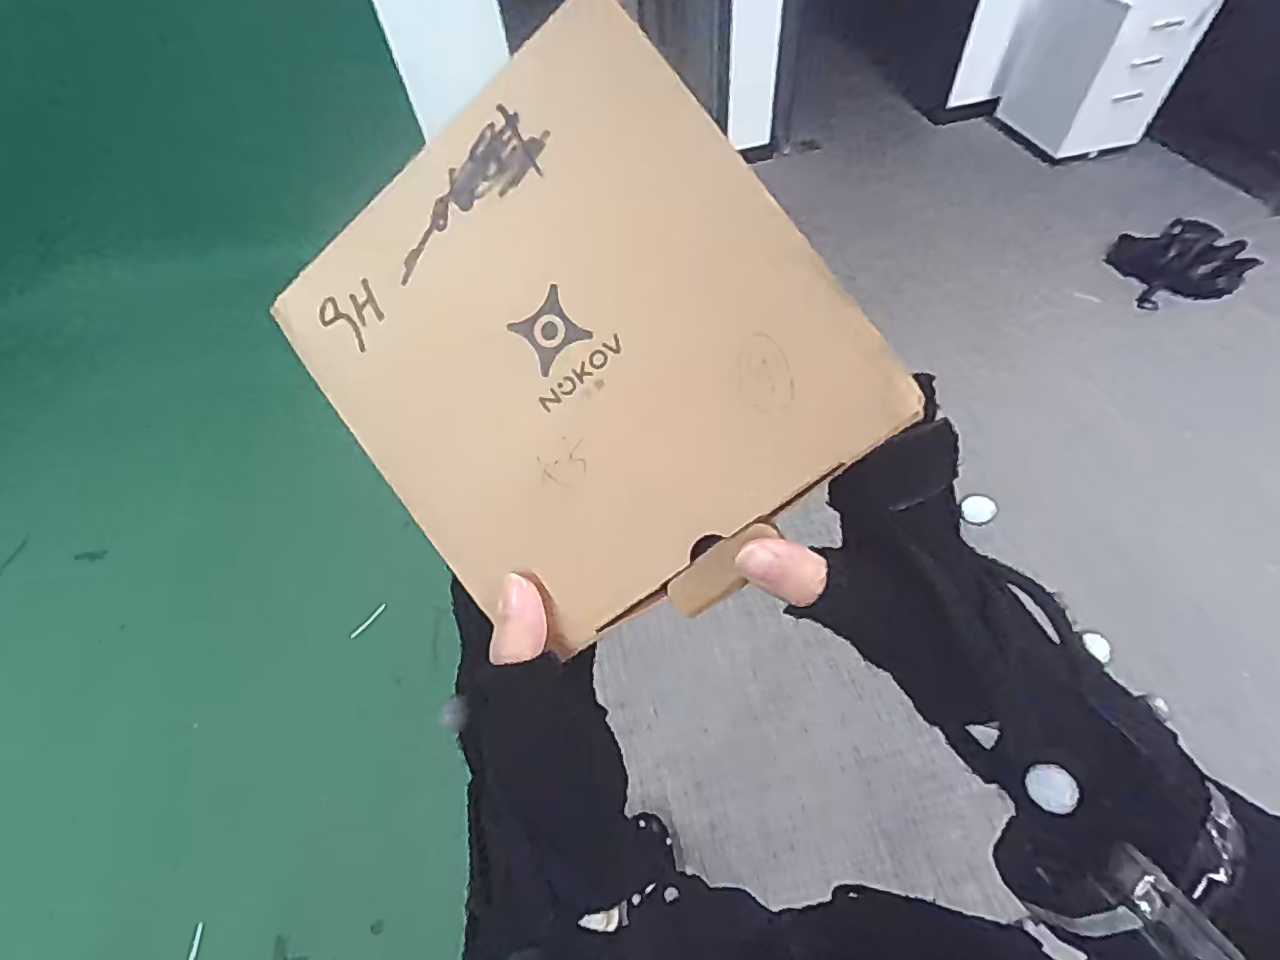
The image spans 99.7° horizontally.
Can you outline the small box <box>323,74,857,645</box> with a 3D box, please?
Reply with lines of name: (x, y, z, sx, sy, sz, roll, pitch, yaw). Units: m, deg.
small box: (-0.013, -0.051, 0.299, 0.168, 0.176, 0.179, -39, 87, 13)
